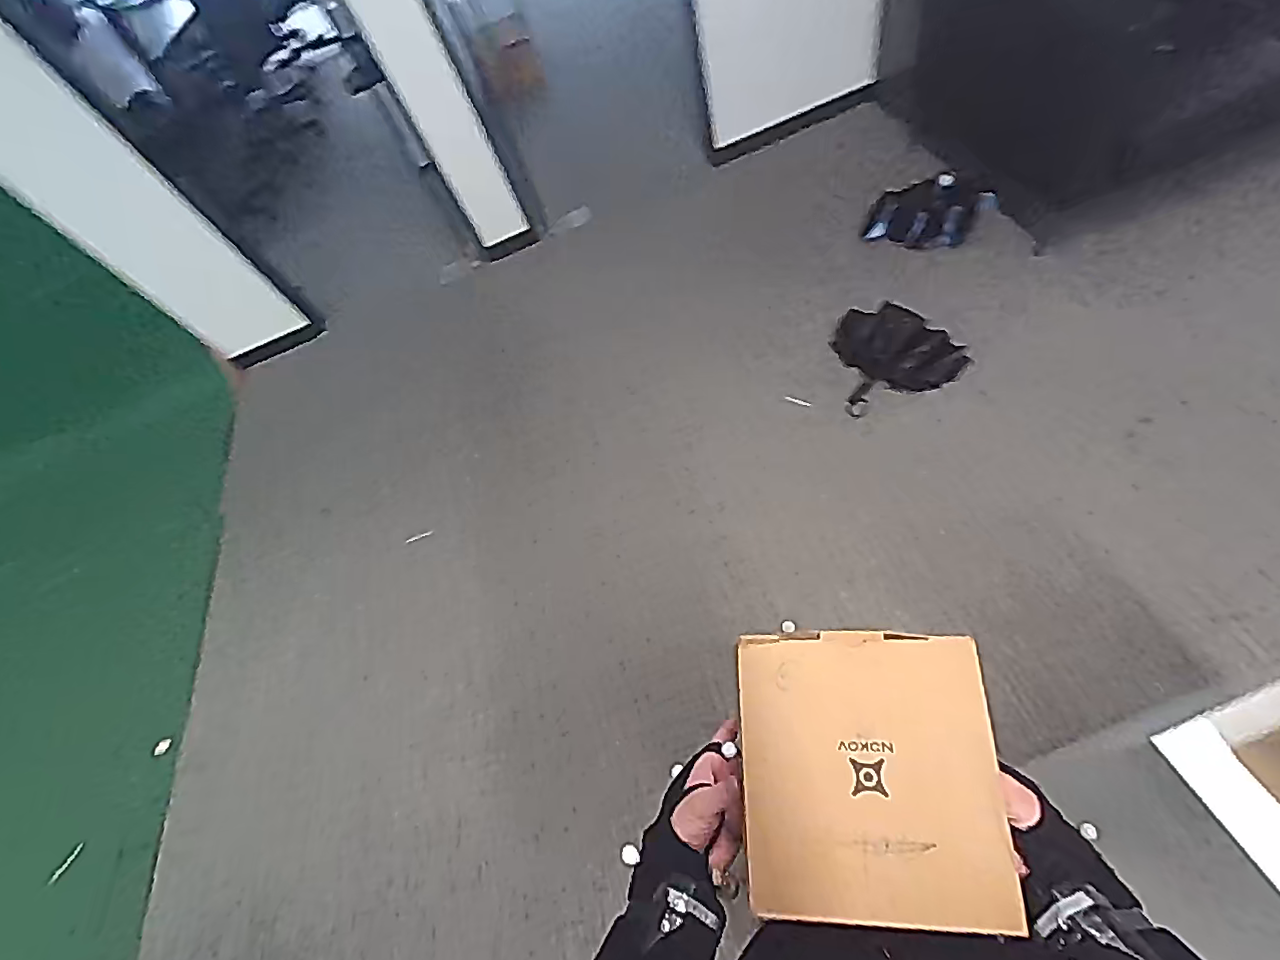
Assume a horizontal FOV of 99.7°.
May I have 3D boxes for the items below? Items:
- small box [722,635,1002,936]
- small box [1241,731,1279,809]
[{"bbox_3d":[0.152,0.221,0.440,0.168,0.176,0.179,-3,72,9],"label":"small box"},{"bbox_3d":[0.829,0.329,0.568,0.179,0.176,0.168,-25,56,0],"label":"small box"}]
